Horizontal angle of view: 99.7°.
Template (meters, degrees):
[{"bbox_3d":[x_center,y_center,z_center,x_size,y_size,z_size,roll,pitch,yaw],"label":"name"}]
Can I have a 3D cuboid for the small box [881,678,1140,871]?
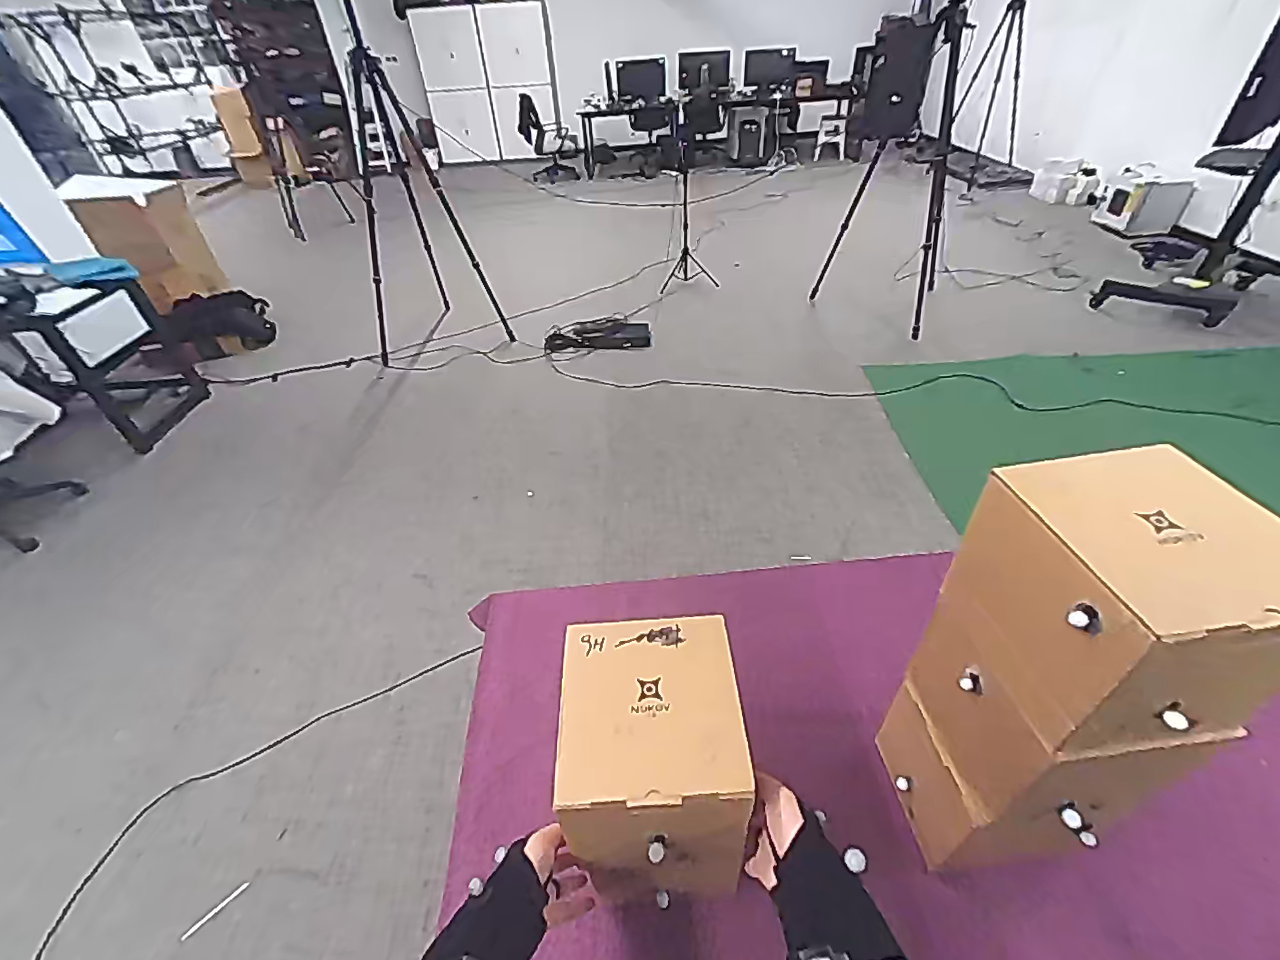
[{"bbox_3d":[0.426,0.353,0.662,0.179,0.176,0.168,-5,39,0],"label":"small box"}]

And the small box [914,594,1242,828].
[{"bbox_3d":[0.415,0.227,0.559,0.168,0.176,0.179,-7,41,-1],"label":"small box"}]

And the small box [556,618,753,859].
[{"bbox_3d":[0.016,0.266,0.552,0.168,0.176,0.179,-4,41,1],"label":"small box"}]

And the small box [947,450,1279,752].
[{"bbox_3d":[0.400,0.099,0.460,0.168,0.176,0.179,-8,41,-3],"label":"small box"}]

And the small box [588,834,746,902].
[{"bbox_3d":[0.029,0.386,0.663,0.168,0.176,0.179,-4,41,1],"label":"small box"}]
